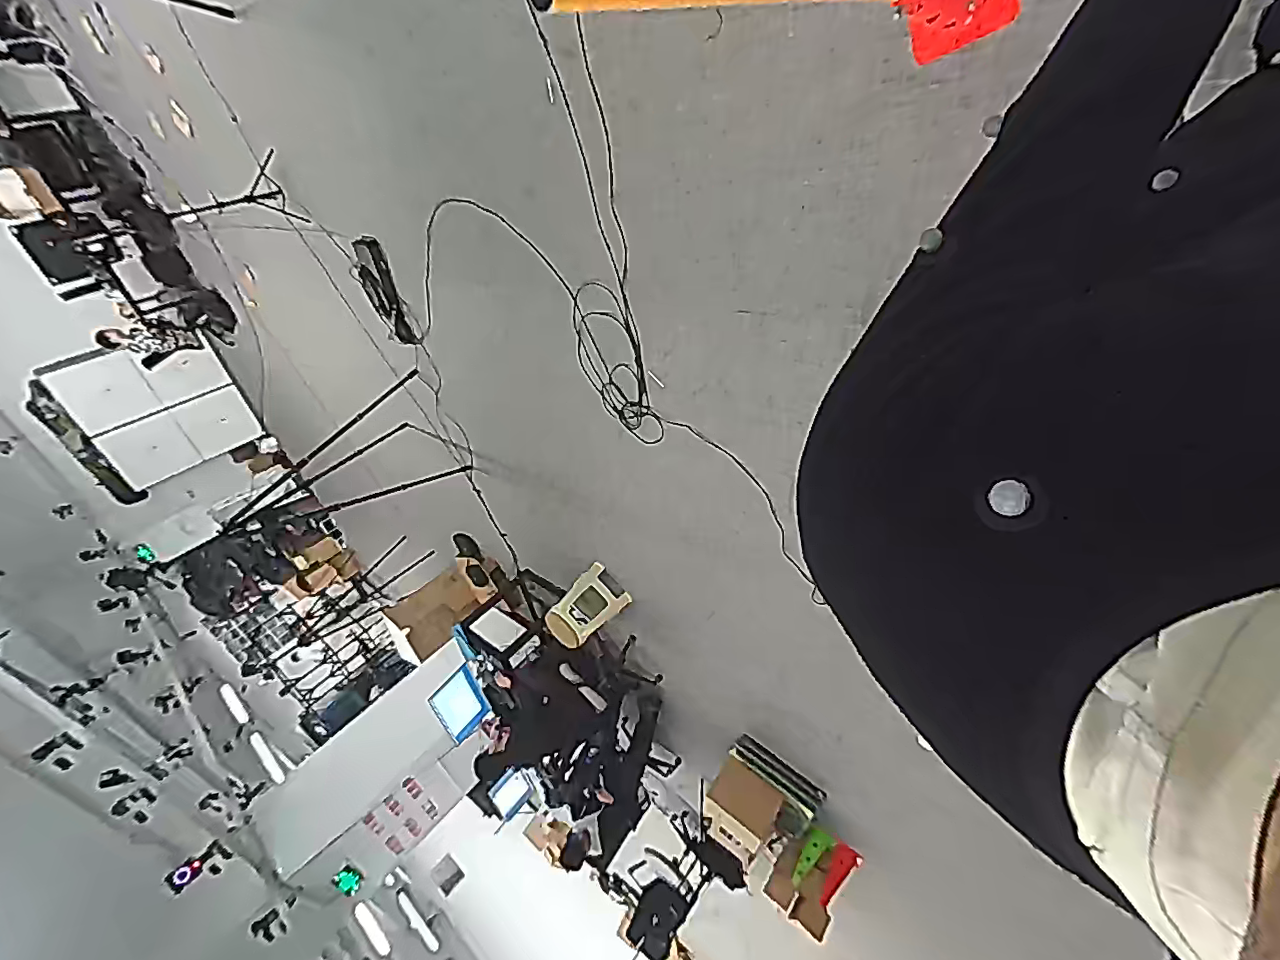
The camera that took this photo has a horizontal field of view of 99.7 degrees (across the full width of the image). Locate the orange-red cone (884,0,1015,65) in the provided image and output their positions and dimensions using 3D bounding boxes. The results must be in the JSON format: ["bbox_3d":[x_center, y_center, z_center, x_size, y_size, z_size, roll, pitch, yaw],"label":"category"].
[{"bbox_3d":[0.546,-0.917,1.020,0.199,0.360,0.198,6,126,47],"label":"orange-red cone"}]
